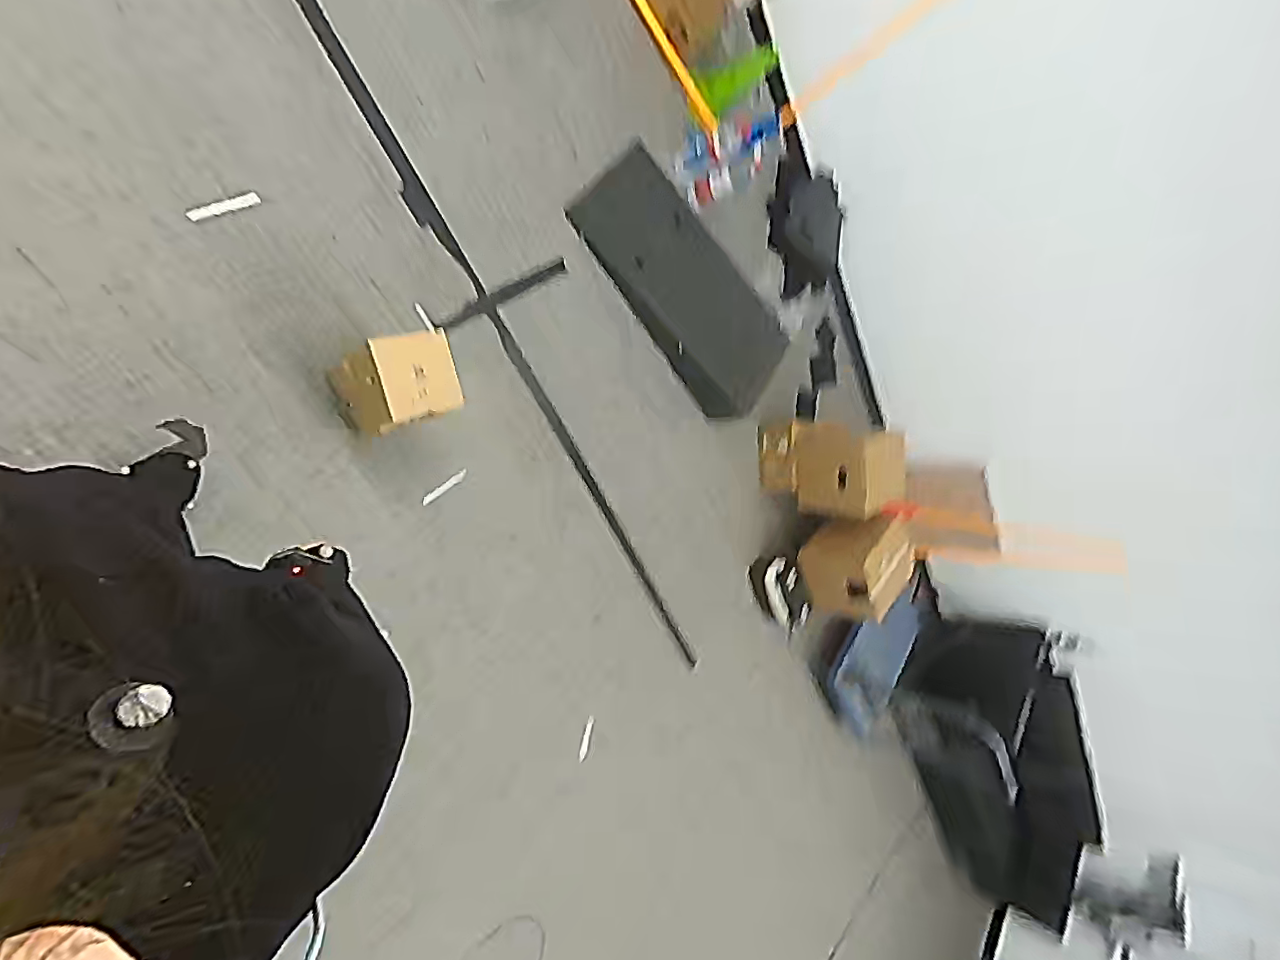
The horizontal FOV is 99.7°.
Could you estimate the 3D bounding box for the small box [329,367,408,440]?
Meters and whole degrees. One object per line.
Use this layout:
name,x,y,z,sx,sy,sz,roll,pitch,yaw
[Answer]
small box,-0.638,-0.211,1.347,0.168,0.176,0.179,-37,115,-35

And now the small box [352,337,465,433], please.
small box,-0.526,-0.212,1.224,0.168,0.176,0.179,-22,104,-39
